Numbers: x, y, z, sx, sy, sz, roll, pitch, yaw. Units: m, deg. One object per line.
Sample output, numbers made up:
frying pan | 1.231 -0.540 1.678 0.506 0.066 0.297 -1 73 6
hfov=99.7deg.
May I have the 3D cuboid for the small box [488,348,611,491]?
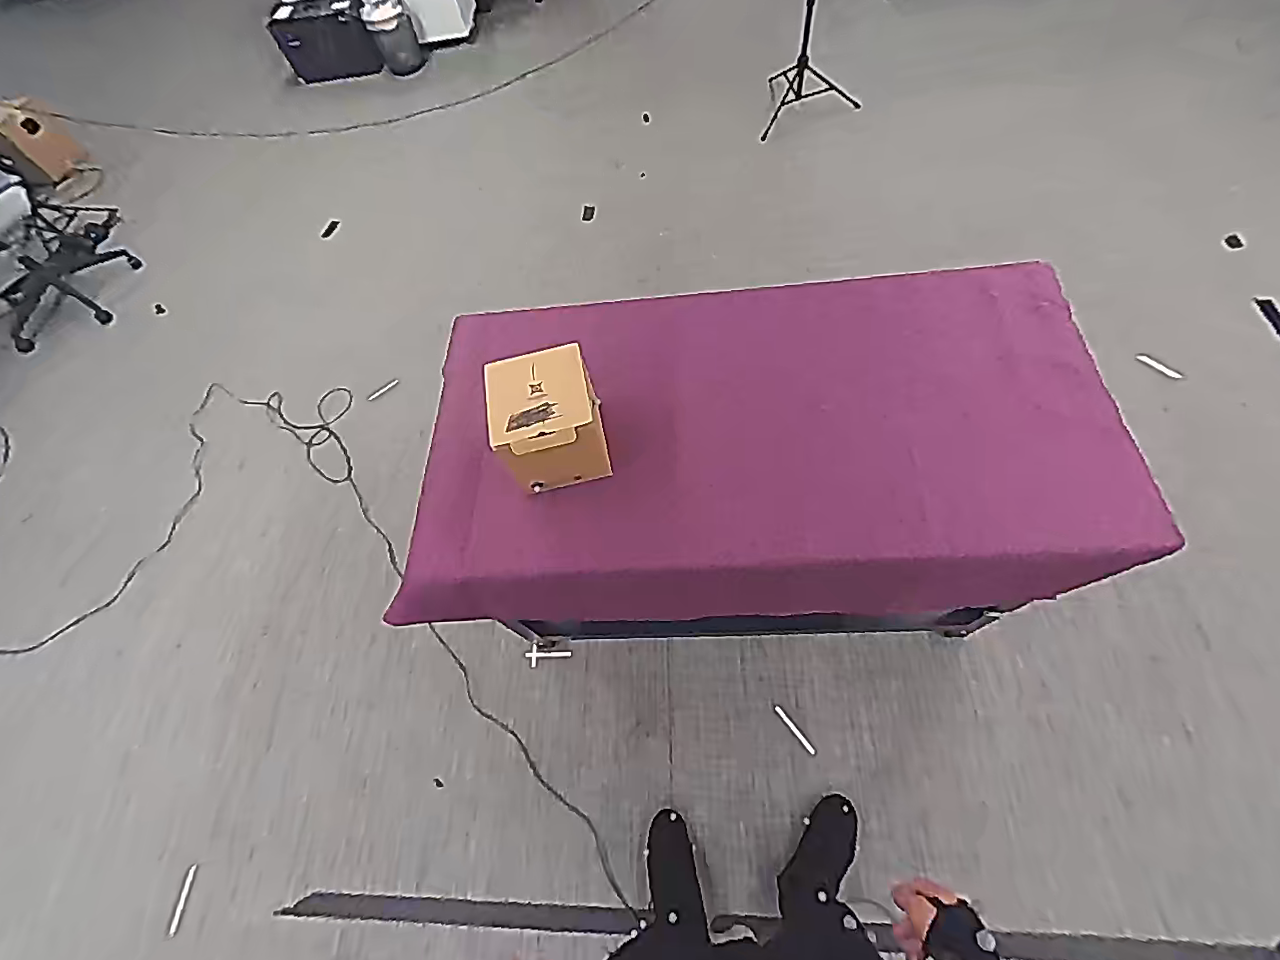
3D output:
small box | -0.153 -0.095 0.946 0.168 0.176 0.179 -13 60 0
